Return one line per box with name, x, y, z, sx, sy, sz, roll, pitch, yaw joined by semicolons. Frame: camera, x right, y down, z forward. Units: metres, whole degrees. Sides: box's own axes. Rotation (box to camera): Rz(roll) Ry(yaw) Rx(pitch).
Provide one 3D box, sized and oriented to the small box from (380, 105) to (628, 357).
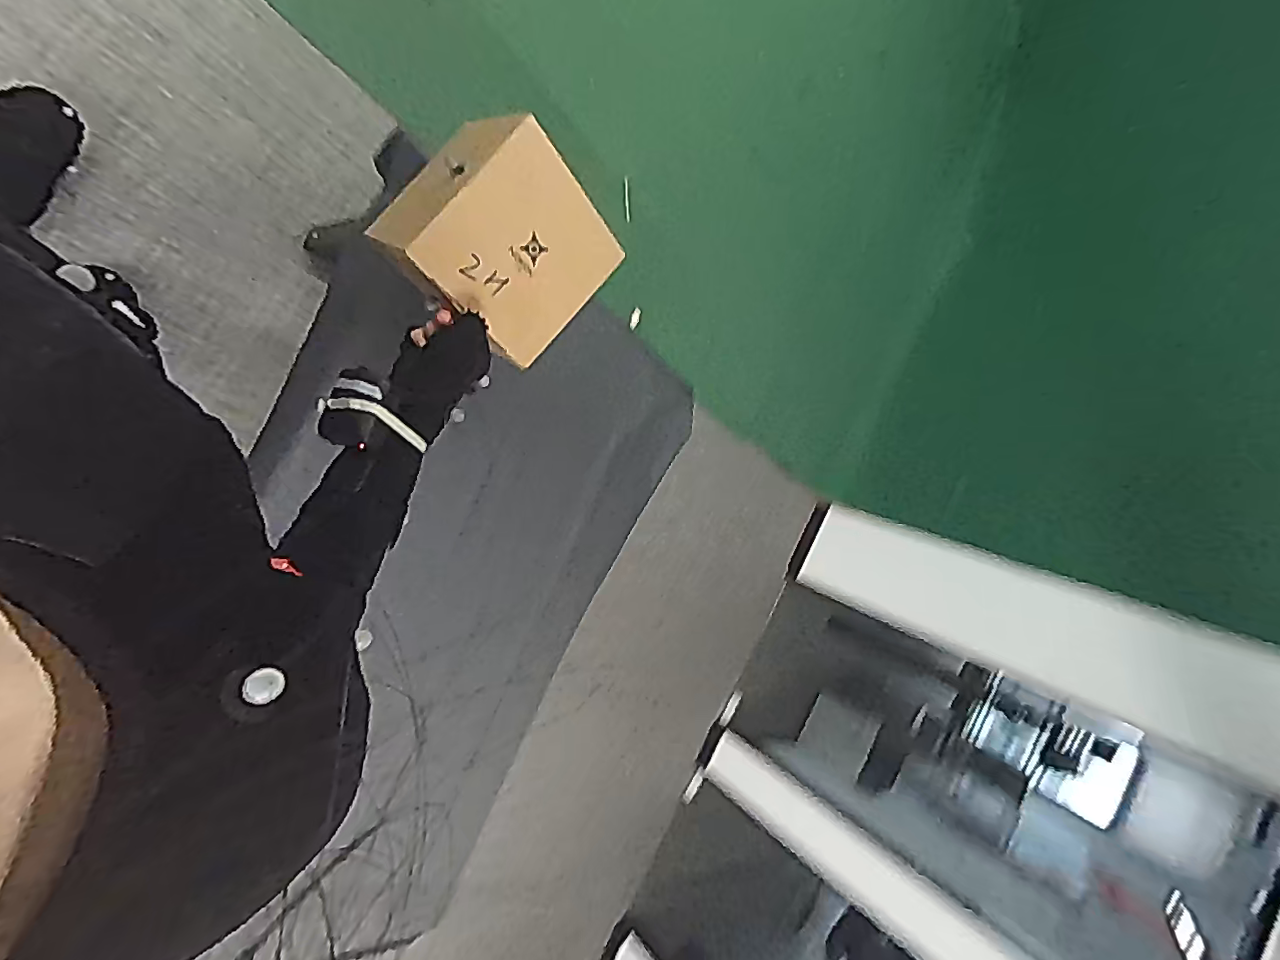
small box;-0.153;-0.271;0.594;0.179;0.176;0.168;-50;135;-3
